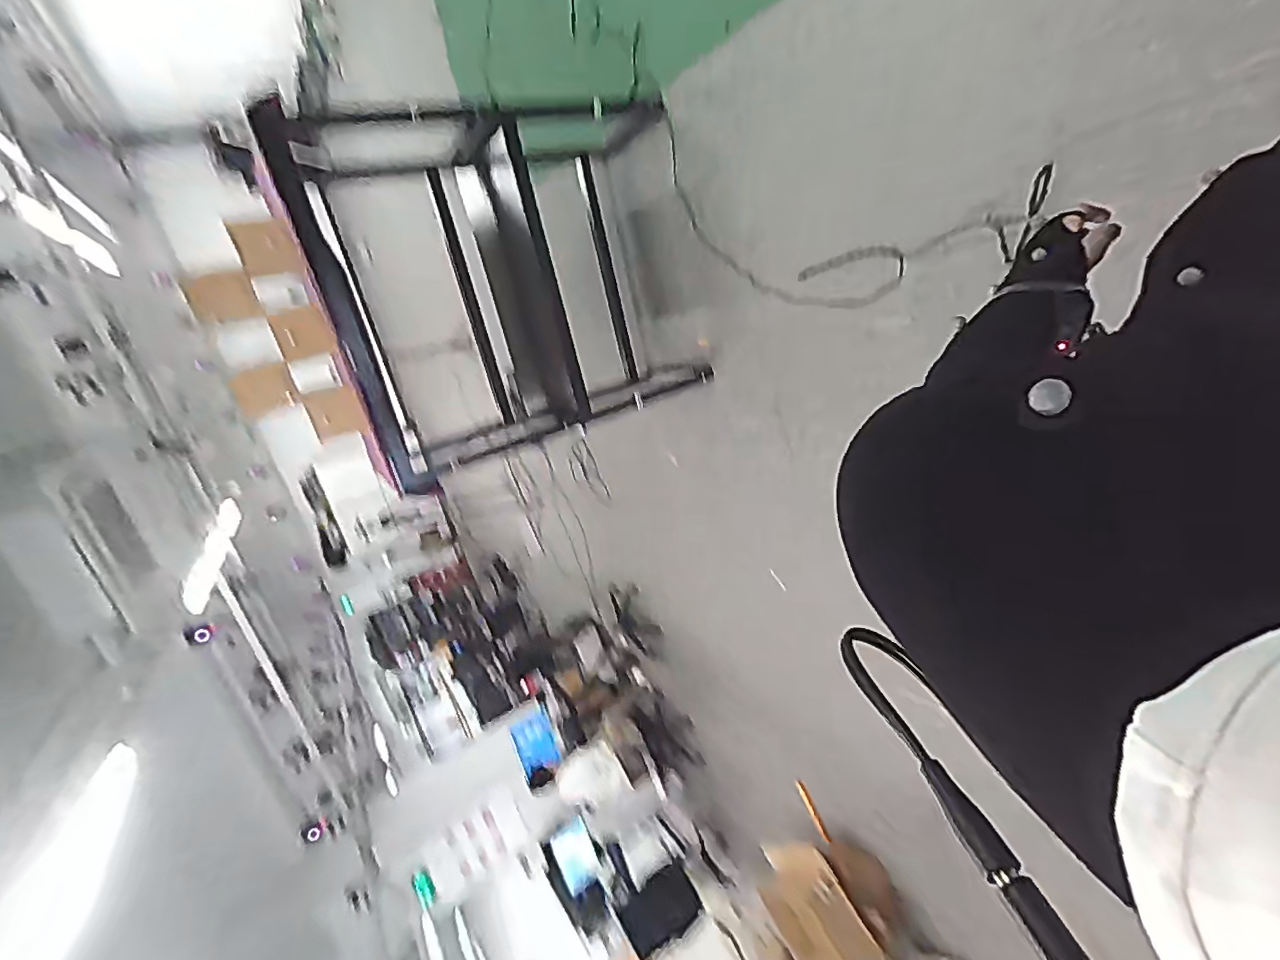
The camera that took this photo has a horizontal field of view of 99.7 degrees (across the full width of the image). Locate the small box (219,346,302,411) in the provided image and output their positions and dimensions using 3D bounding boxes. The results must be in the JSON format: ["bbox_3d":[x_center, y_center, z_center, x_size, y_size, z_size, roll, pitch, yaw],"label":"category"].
[{"bbox_3d":[-1.194,-0.326,1.718,0.179,0.176,0.168,18,125,57],"label":"small box"}]

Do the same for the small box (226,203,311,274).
[{"bbox_3d":[-1.137,-0.743,1.664,0.179,0.176,0.168,18,125,54],"label":"small box"}]

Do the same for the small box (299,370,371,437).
[{"bbox_3d":[-1.027,-0.262,1.822,0.168,0.176,0.179,22,128,54],"label":"small box"}]

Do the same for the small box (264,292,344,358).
[{"bbox_3d":[-1.079,-0.501,1.742,0.168,0.176,0.179,14,122,57],"label":"small box"}]
